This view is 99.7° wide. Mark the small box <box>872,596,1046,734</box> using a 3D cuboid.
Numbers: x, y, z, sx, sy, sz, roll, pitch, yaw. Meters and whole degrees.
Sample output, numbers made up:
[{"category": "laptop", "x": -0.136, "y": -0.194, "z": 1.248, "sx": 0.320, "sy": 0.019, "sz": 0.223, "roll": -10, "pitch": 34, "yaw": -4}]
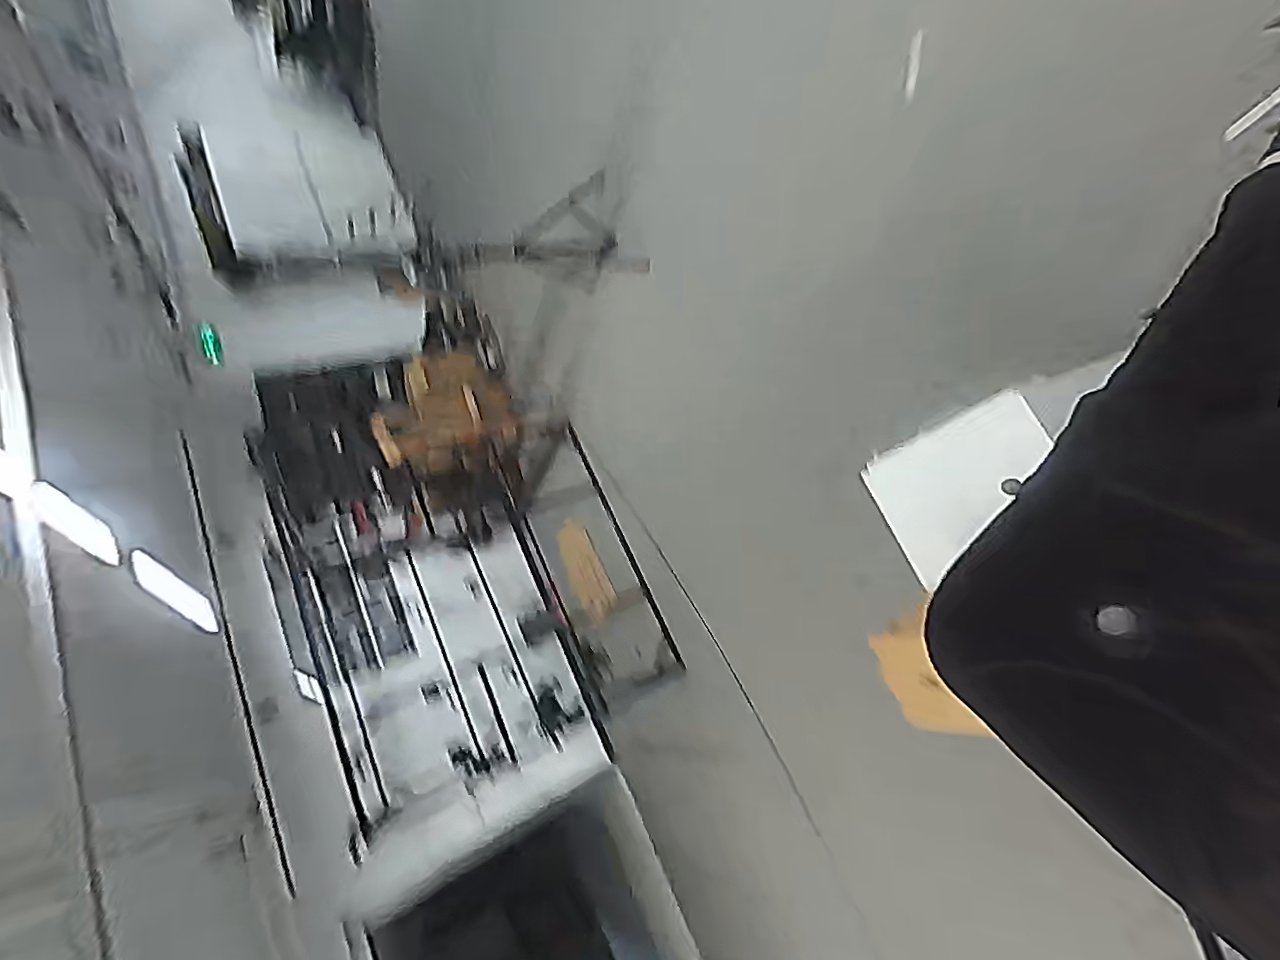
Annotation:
[{"category": "small box", "x": 0.550, "y": 0.312, "z": 0.929, "sx": 0.168, "sy": 0.176, "sz": 0.179, "roll": 66, "pitch": 151, "yaw": 10}]
